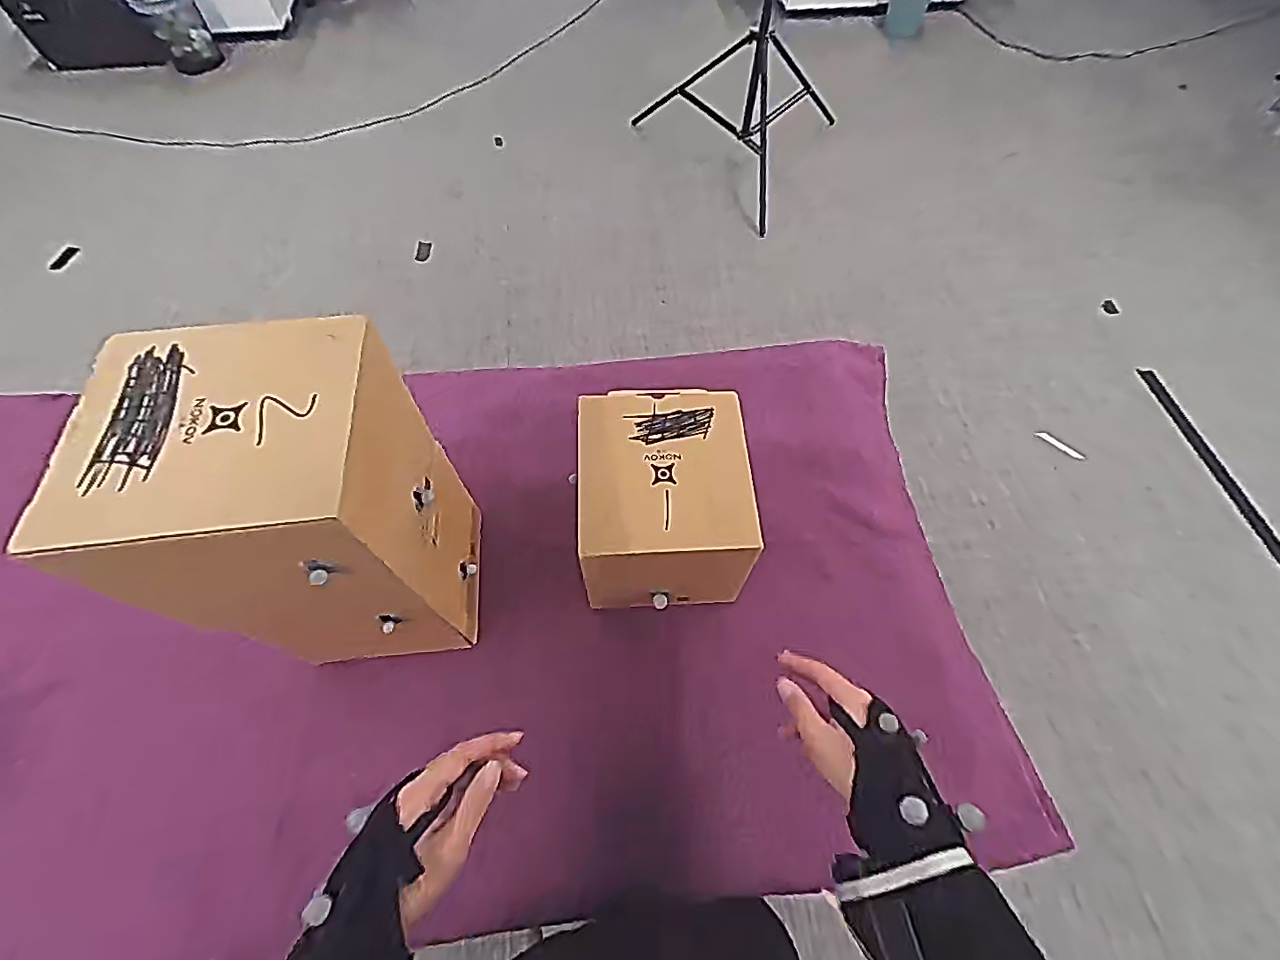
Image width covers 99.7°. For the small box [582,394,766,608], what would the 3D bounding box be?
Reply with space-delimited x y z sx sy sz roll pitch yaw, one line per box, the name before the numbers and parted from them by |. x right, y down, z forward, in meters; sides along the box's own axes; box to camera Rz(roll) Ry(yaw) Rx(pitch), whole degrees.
small box | 0.026 0.027 0.585 0.168 0.176 0.179 -2 61 -2

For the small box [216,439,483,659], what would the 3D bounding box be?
small box | -0.272 0.078 0.555 0.179 0.176 0.168 -5 60 -4
